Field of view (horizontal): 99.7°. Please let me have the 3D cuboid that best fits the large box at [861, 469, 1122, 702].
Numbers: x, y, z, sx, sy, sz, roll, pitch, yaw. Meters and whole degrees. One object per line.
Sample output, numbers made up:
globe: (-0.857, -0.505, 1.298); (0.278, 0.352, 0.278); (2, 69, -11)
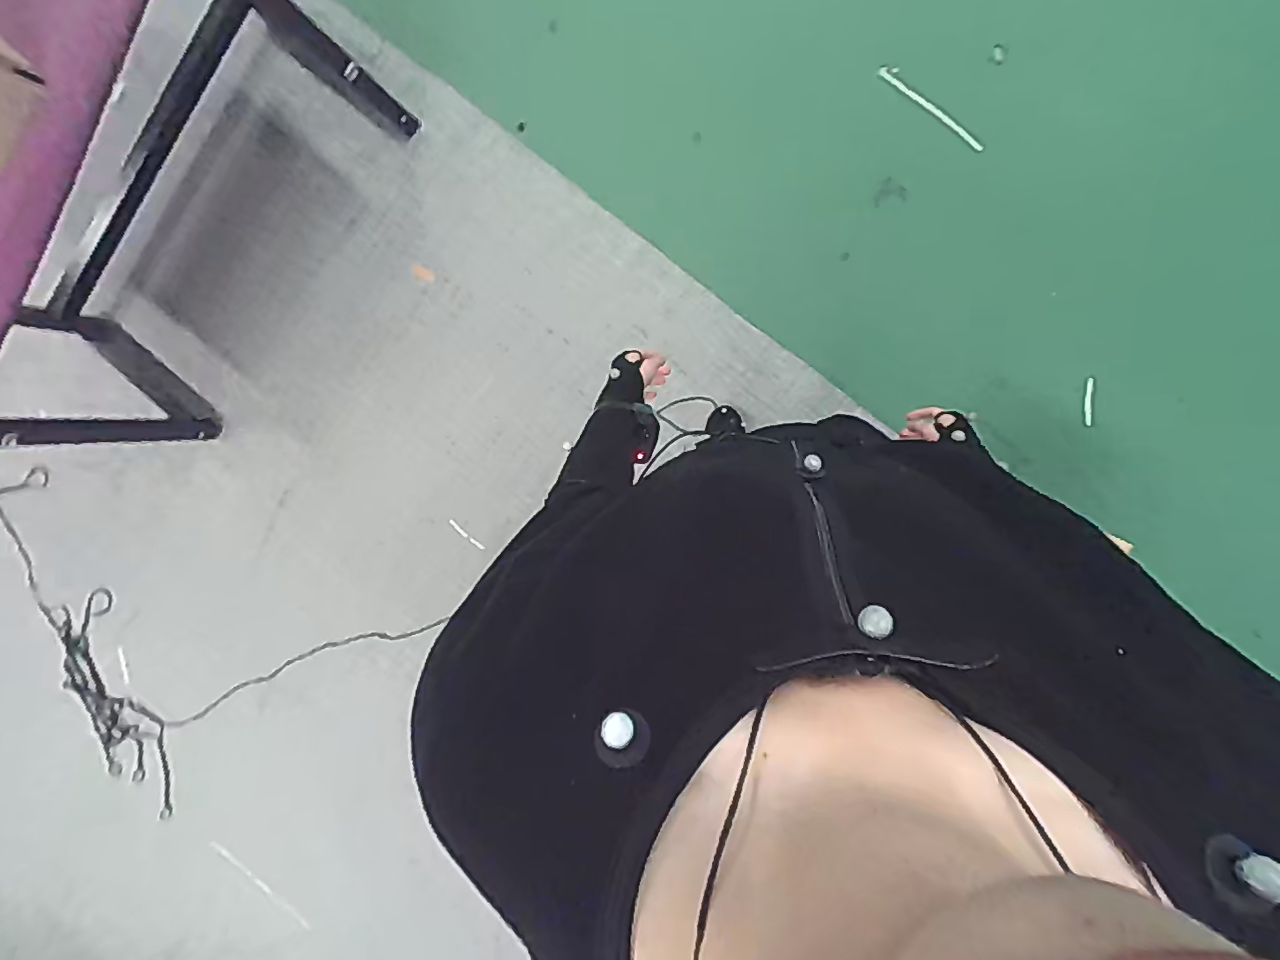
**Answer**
large box: (0.786, 0.222, 1.282); (0.320, 0.320, 0.408); (25, 98, 4)
